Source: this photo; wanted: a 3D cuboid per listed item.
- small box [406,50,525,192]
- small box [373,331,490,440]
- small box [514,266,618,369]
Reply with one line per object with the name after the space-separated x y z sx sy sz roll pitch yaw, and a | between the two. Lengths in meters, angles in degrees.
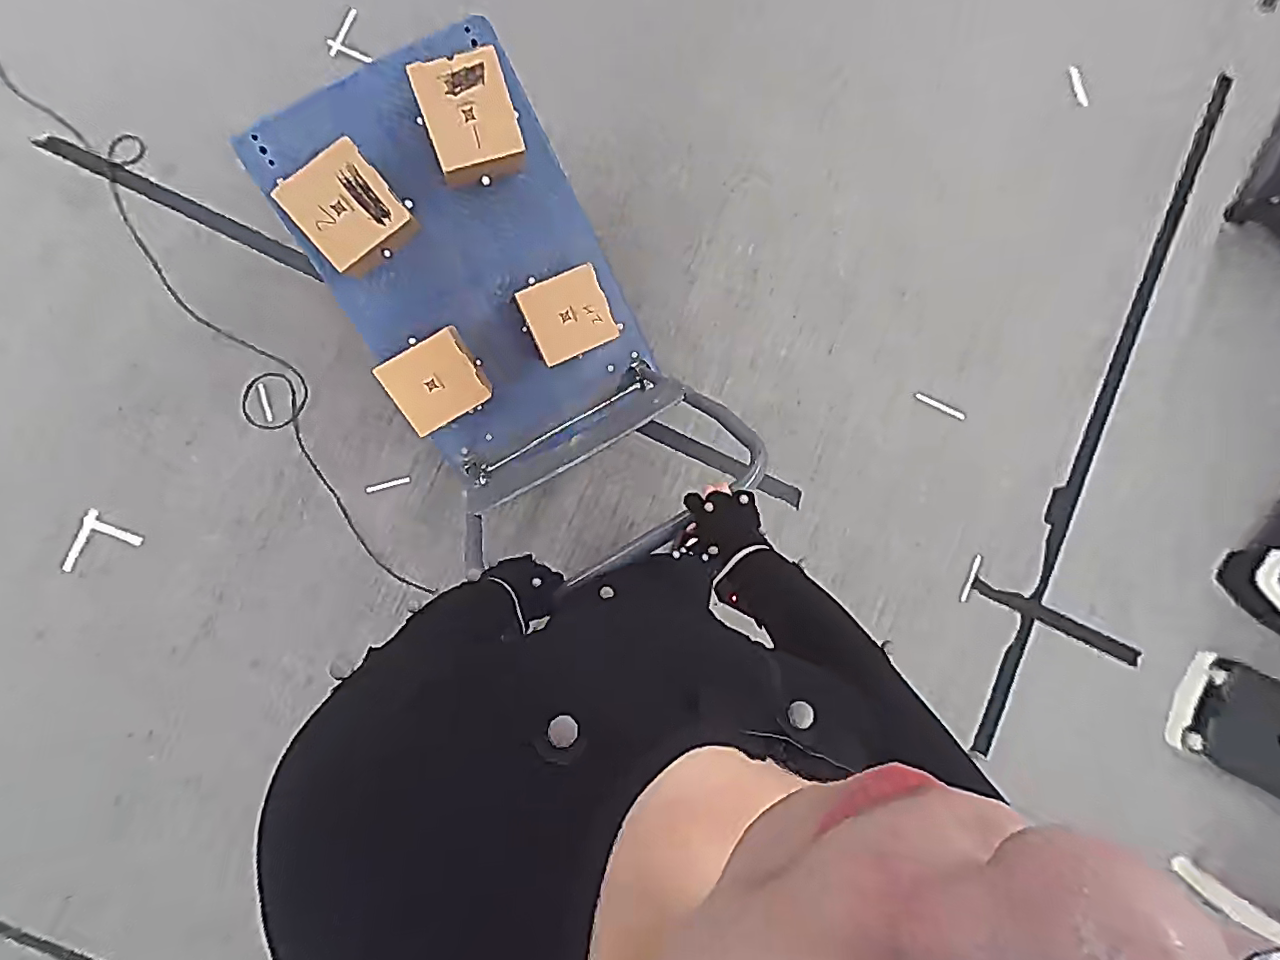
-0.340 -0.701 1.074 0.168 0.176 0.179 -20 111 -8 | small box
-0.448 -0.213 1.195 0.179 0.176 0.168 -32 111 -5 | small box
-0.170 -0.365 1.220 0.179 0.176 0.168 -25 111 -6 | small box
